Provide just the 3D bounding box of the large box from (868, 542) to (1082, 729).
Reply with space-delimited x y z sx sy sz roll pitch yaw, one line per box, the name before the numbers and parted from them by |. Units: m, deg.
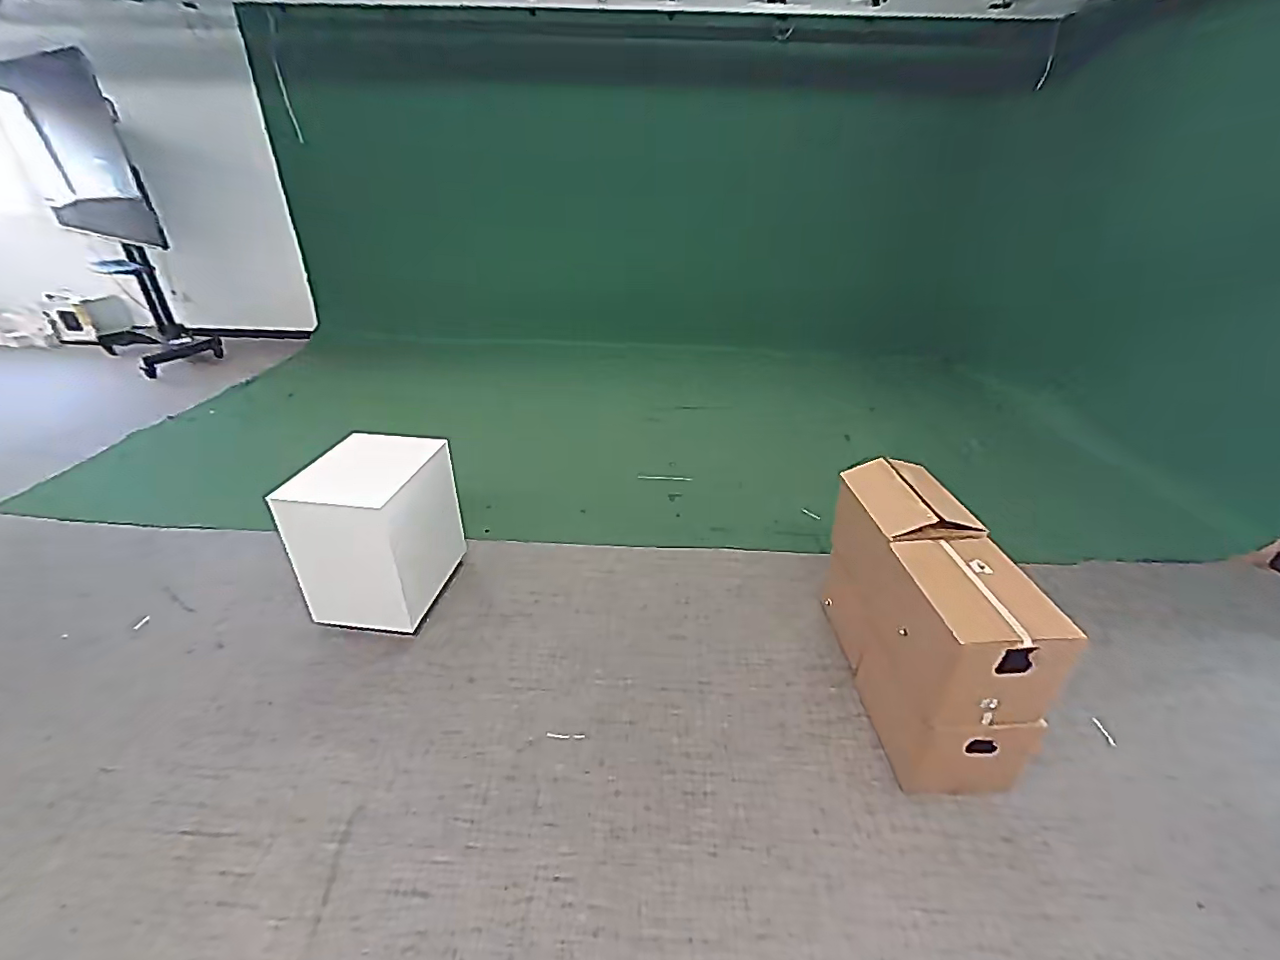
large box | 0.889 0.420 1.512 0.320 0.320 0.408 -2 29 -2
